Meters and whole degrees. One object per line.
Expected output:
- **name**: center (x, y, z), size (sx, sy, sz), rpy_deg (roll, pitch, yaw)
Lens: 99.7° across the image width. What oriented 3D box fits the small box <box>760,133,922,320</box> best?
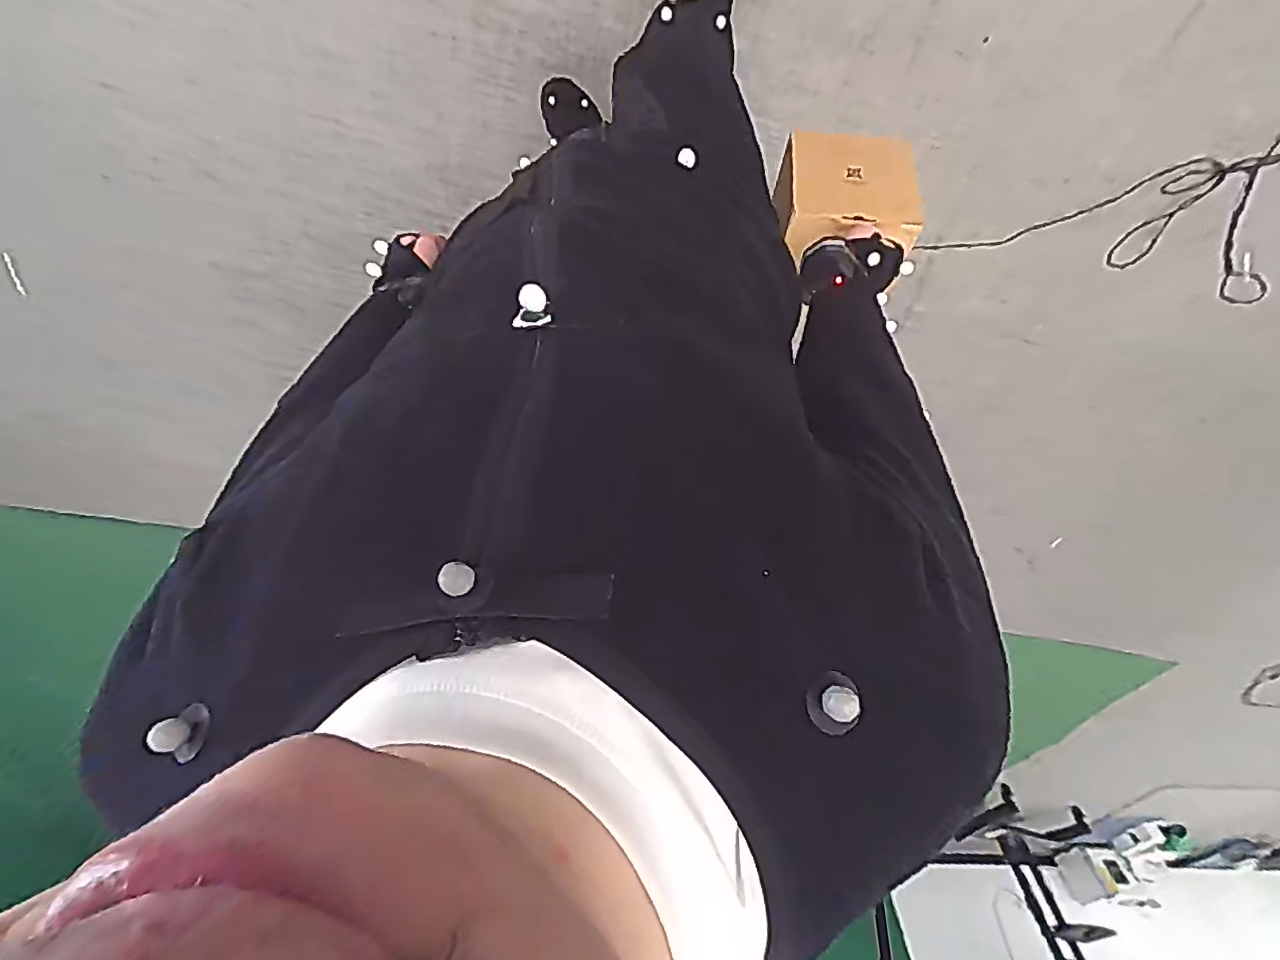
- **small box**: center (0.273, -0.354, 0.773), size (0.168, 0.179, 0.176), rpy_deg (8, 153, 0)
